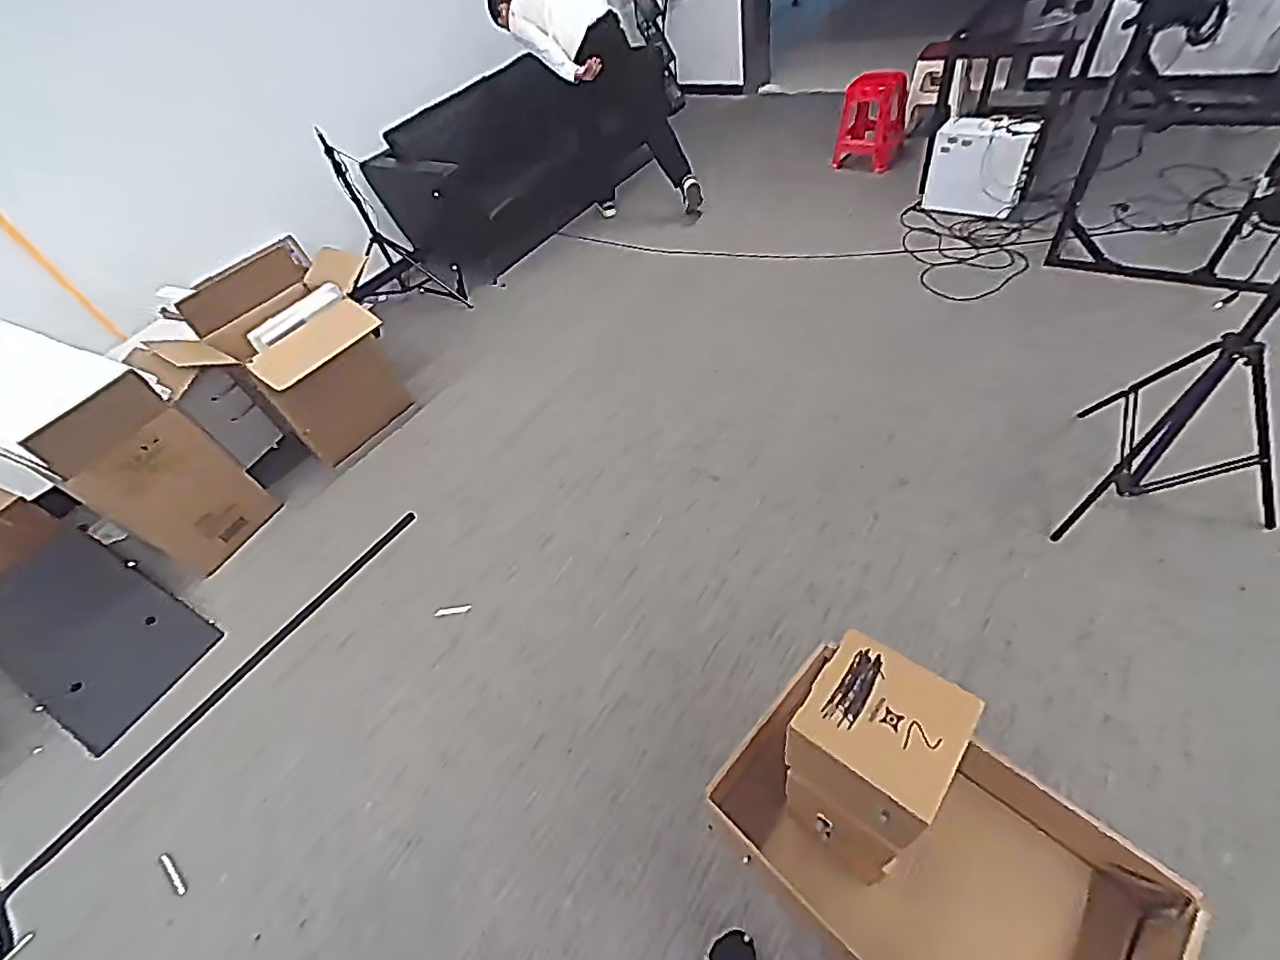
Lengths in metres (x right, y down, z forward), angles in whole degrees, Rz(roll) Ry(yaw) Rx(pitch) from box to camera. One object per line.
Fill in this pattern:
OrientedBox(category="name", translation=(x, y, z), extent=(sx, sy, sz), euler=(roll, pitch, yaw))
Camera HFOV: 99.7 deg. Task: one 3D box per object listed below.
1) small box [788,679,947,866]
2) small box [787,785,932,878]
OrientedBox(category="small box", translation=(0.341, 0.454, 0.840), extent=(0.168, 0.176, 0.179), euler=(27, 59, 32))
OrientedBox(category="small box", translation=(0.375, 0.565, 0.955), extent=(0.179, 0.176, 0.168), euler=(30, 62, 31))
